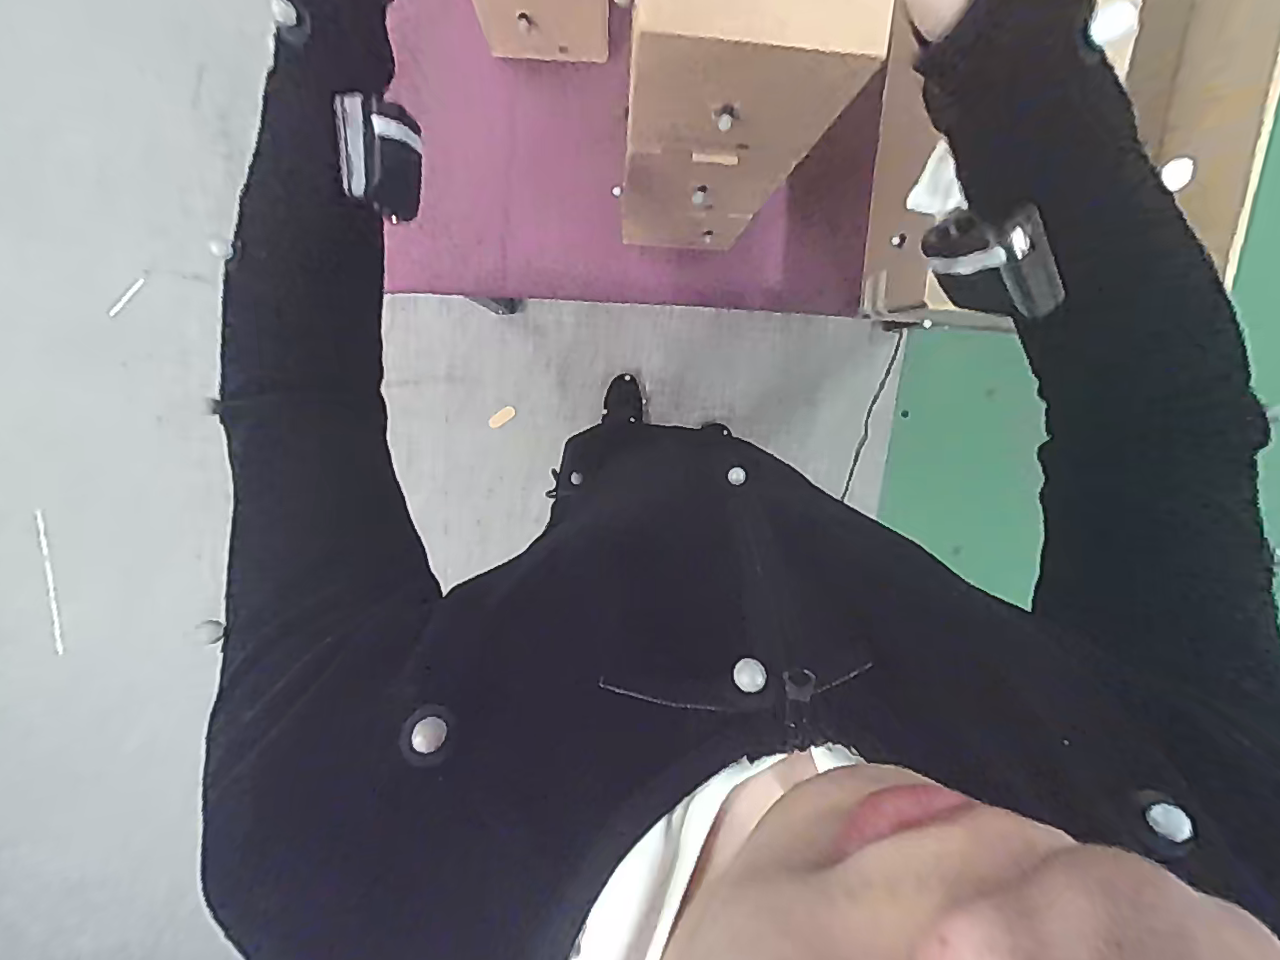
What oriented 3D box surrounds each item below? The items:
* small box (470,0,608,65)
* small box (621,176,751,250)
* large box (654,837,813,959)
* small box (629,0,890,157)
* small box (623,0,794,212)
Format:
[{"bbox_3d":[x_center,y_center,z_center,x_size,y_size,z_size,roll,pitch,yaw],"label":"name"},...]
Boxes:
[{"bbox_3d":[-0.125,-0.672,0.690,0.168,0.176,0.179,1,99,-2],"label":"small box"},{"bbox_3d":[0.061,-0.428,0.738,0.168,0.176,0.179,3,98,-3],"label":"small box"},{"bbox_3d":[0.297,1.477,1.752,0.408,0.320,0.320,-29,101,2],"label":"large box"},{"bbox_3d":[0.080,-0.377,0.413,0.168,0.176,0.179,4,98,-4],"label":"small box"},{"bbox_3d":[0.069,-0.405,0.577,0.168,0.176,0.179,2,100,-4],"label":"small box"}]
